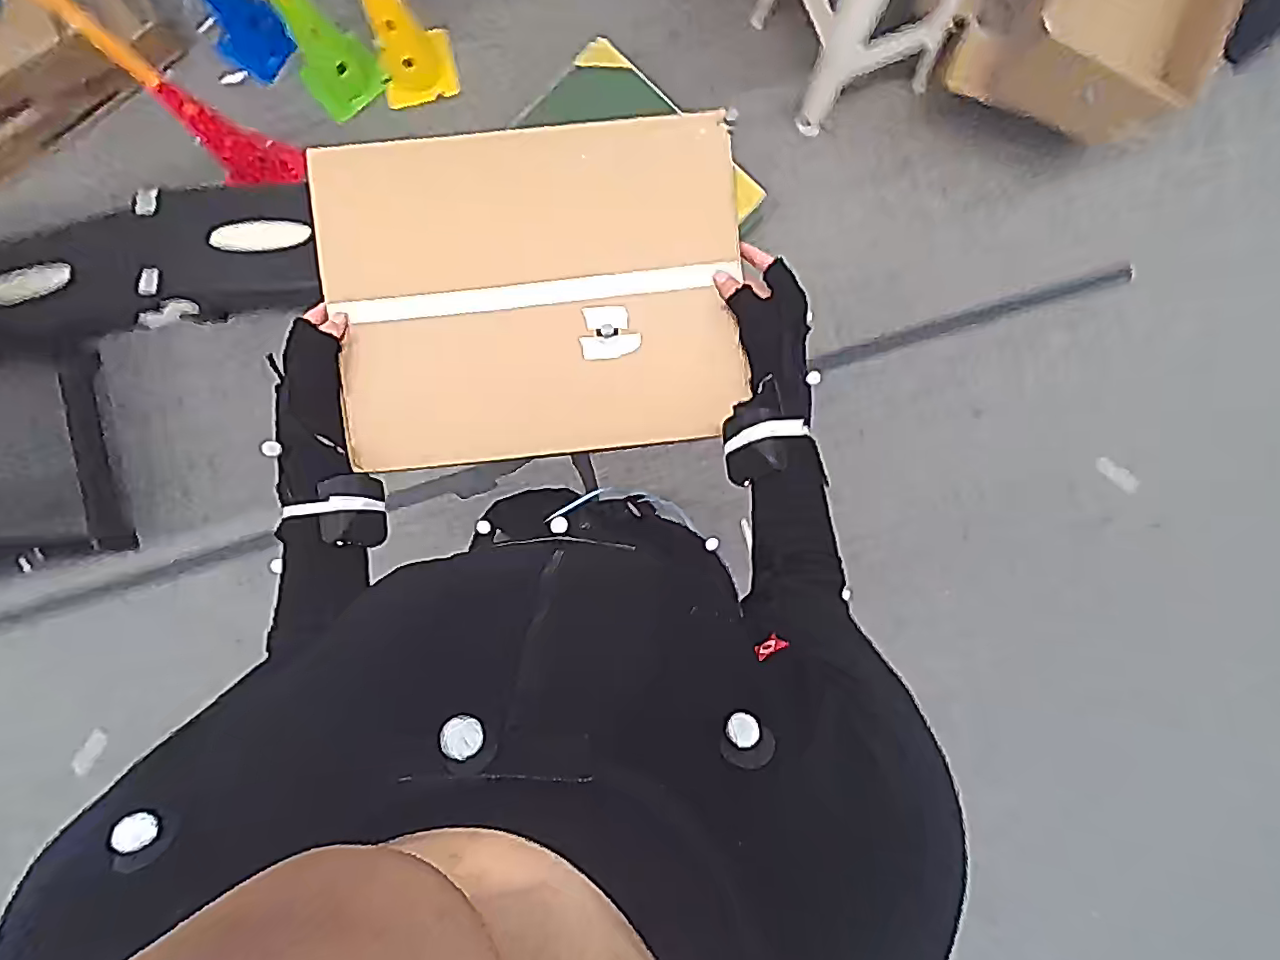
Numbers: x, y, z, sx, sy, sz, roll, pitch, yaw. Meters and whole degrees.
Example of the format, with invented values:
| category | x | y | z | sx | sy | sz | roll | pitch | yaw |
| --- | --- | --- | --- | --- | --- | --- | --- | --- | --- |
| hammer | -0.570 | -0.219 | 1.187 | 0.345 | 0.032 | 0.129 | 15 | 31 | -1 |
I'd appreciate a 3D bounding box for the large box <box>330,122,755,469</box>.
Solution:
| category | x | y | z | sx | sy | sz | roll | pitch | yaw |
| --- | --- | --- | --- | --- | --- | --- | --- | --- | --- |
| large box | -0.099 | -0.193 | 0.690 | 0.408 | 0.320 | 0.320 | -5 | 94 | -2 |
